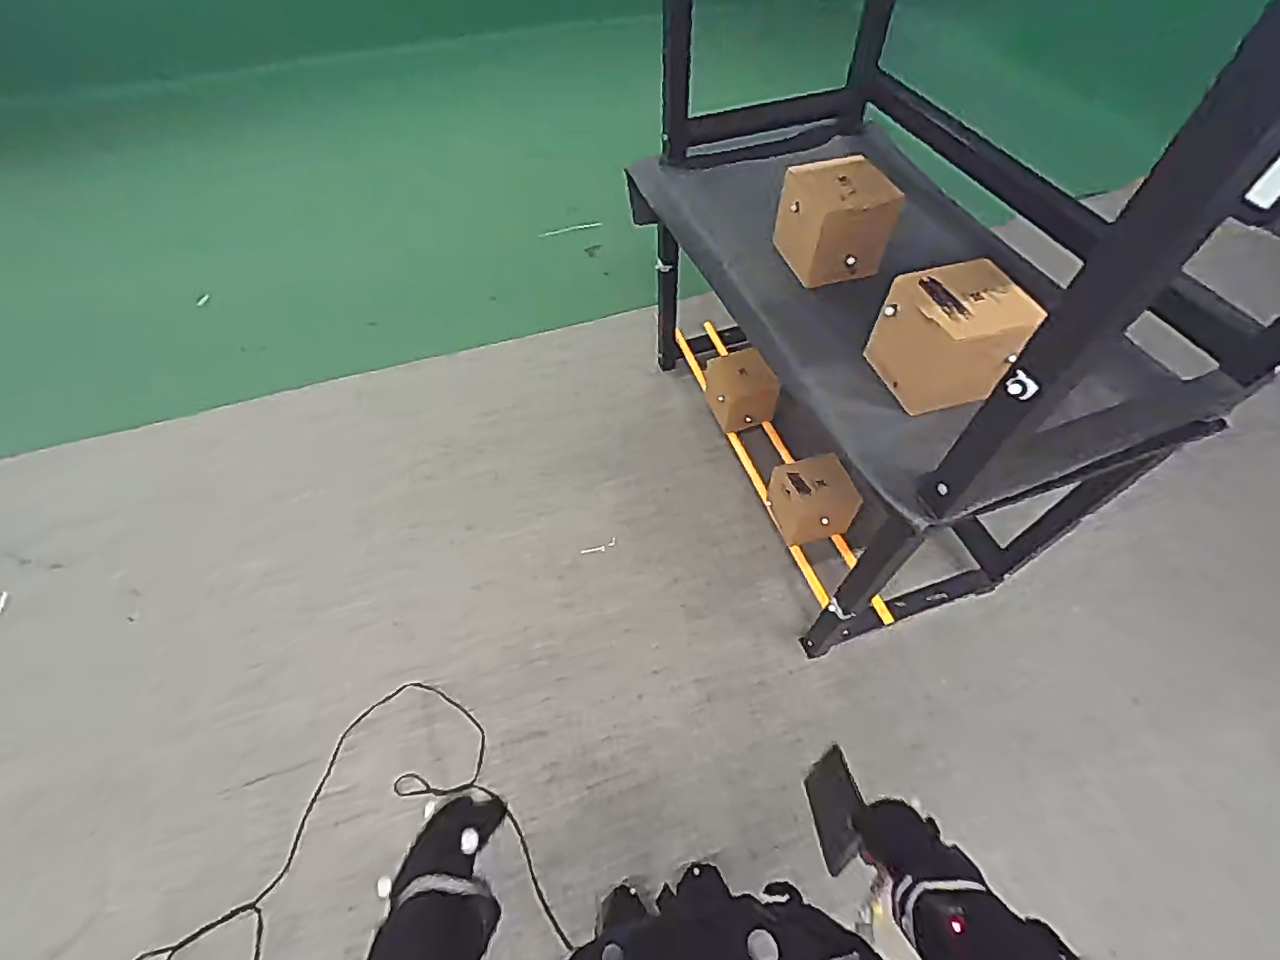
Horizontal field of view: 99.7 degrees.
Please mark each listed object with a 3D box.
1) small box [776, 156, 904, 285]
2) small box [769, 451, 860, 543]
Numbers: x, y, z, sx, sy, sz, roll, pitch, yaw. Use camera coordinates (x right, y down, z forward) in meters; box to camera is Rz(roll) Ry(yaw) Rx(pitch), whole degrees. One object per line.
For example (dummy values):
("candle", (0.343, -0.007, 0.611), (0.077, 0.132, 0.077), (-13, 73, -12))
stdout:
("small box", (0.399, -0.534, 1.118), (0.168, 0.176, 0.179), (-14, 57, -7))
("small box", (0.463, 0.051, 1.473), (0.179, 0.176, 0.168), (-14, 57, -7))
